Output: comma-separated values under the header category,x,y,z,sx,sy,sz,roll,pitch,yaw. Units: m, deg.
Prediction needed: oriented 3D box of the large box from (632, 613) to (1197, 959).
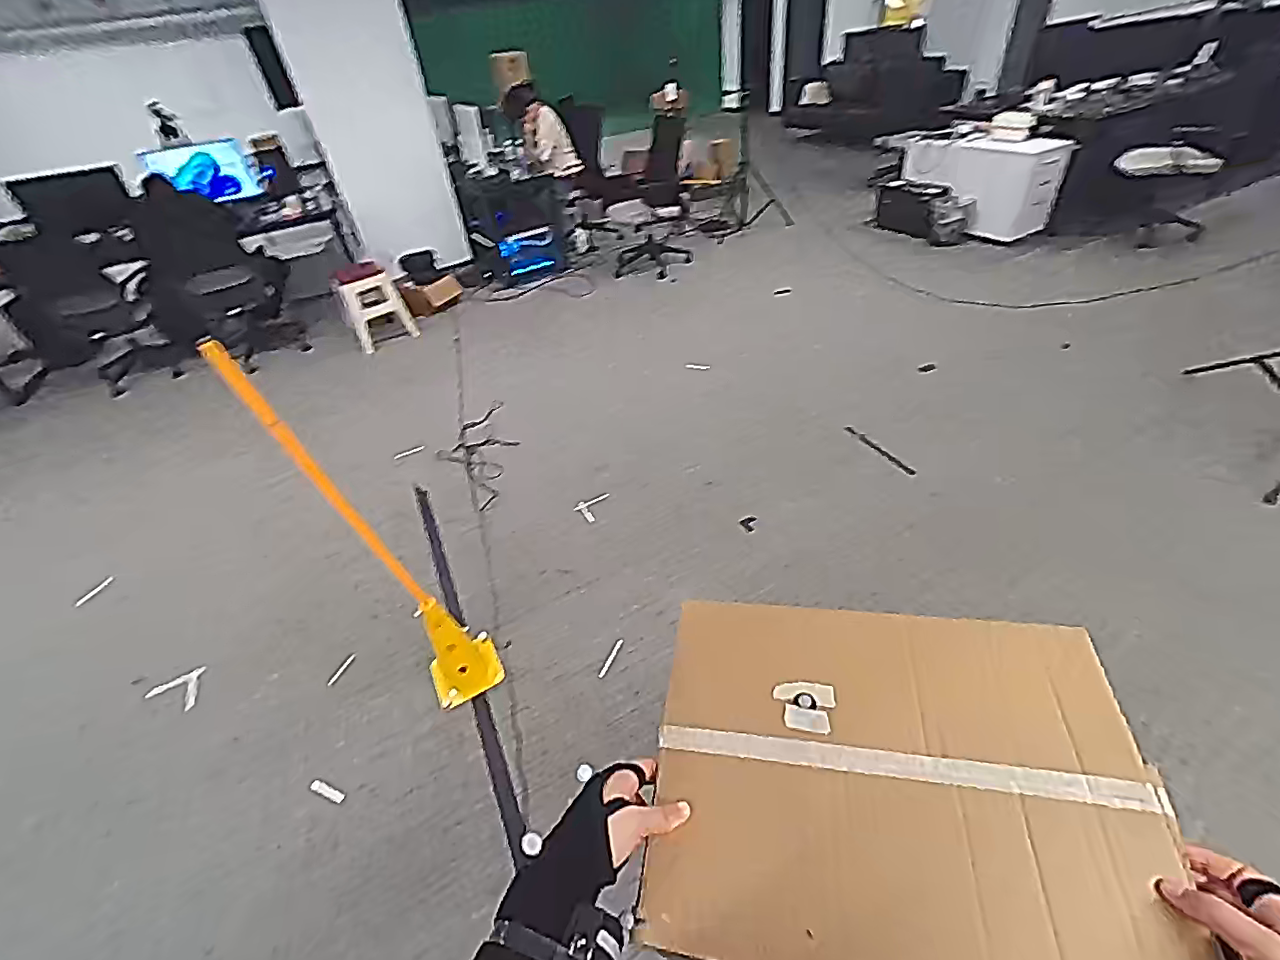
category,x,y,z,sx,sy,sz,roll,pitch,yaw
large box,0.238,0.365,0.591,0.408,0.320,0.320,-1,44,15
